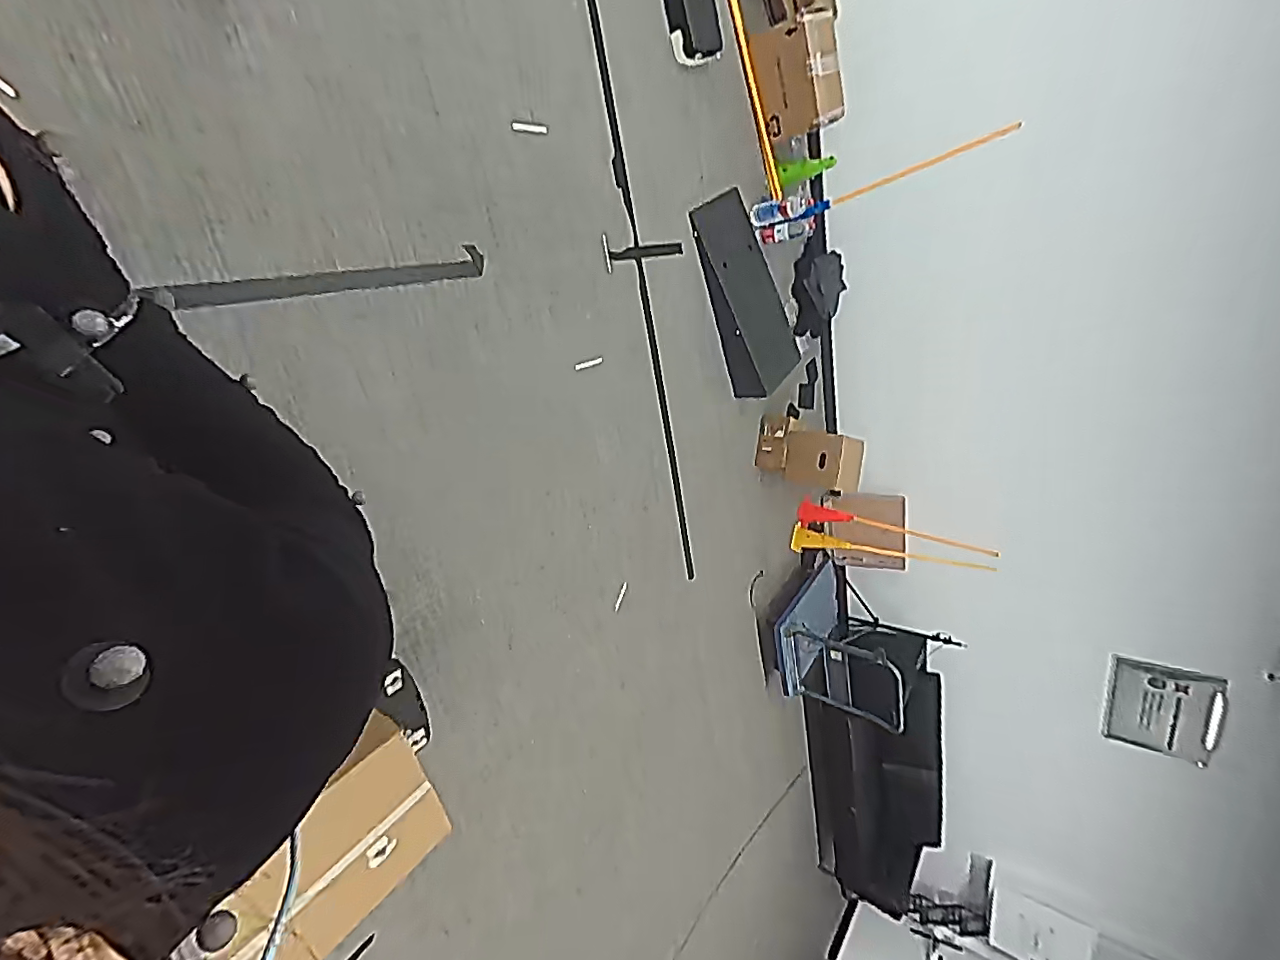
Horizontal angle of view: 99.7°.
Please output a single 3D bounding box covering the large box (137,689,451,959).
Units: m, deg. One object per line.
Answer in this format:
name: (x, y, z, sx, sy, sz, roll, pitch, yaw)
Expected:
large box: (-0.690, 0.722, 1.118, 0.408, 0.320, 0.320, -35, 121, -44)
